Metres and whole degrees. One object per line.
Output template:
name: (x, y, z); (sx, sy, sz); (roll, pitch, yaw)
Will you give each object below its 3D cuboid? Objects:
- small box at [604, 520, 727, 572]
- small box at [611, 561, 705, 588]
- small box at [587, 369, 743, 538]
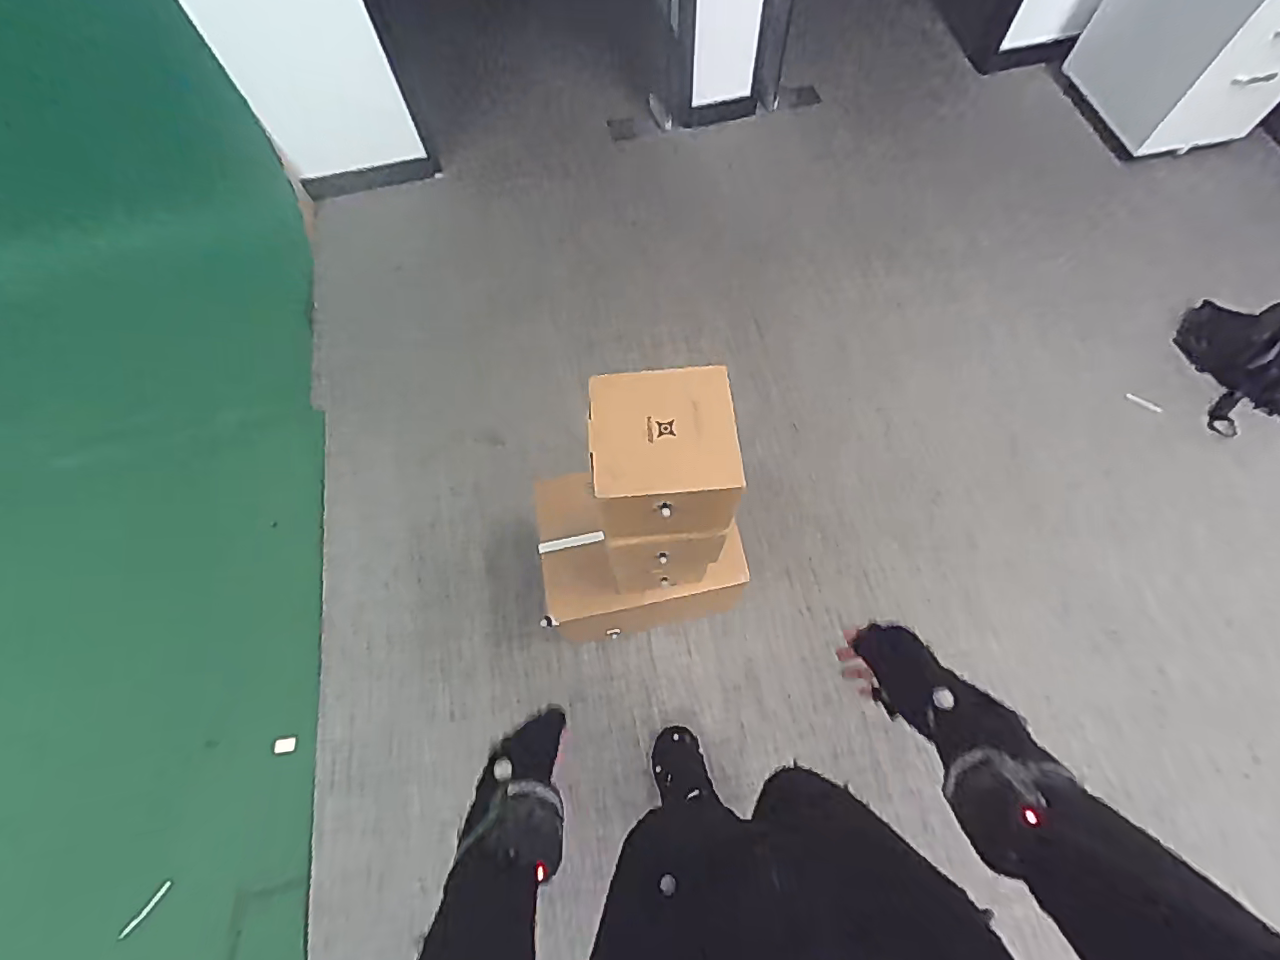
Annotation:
small box: (0.031, 0.043, 0.861); (0.179, 0.176, 0.168); (-7, 67, 0)
small box: (0.026, 0.099, 1.016); (0.168, 0.176, 0.179); (-9, 68, -2)
small box: (0.028, -0.026, 0.715); (0.179, 0.176, 0.168); (-5, 69, -1)
